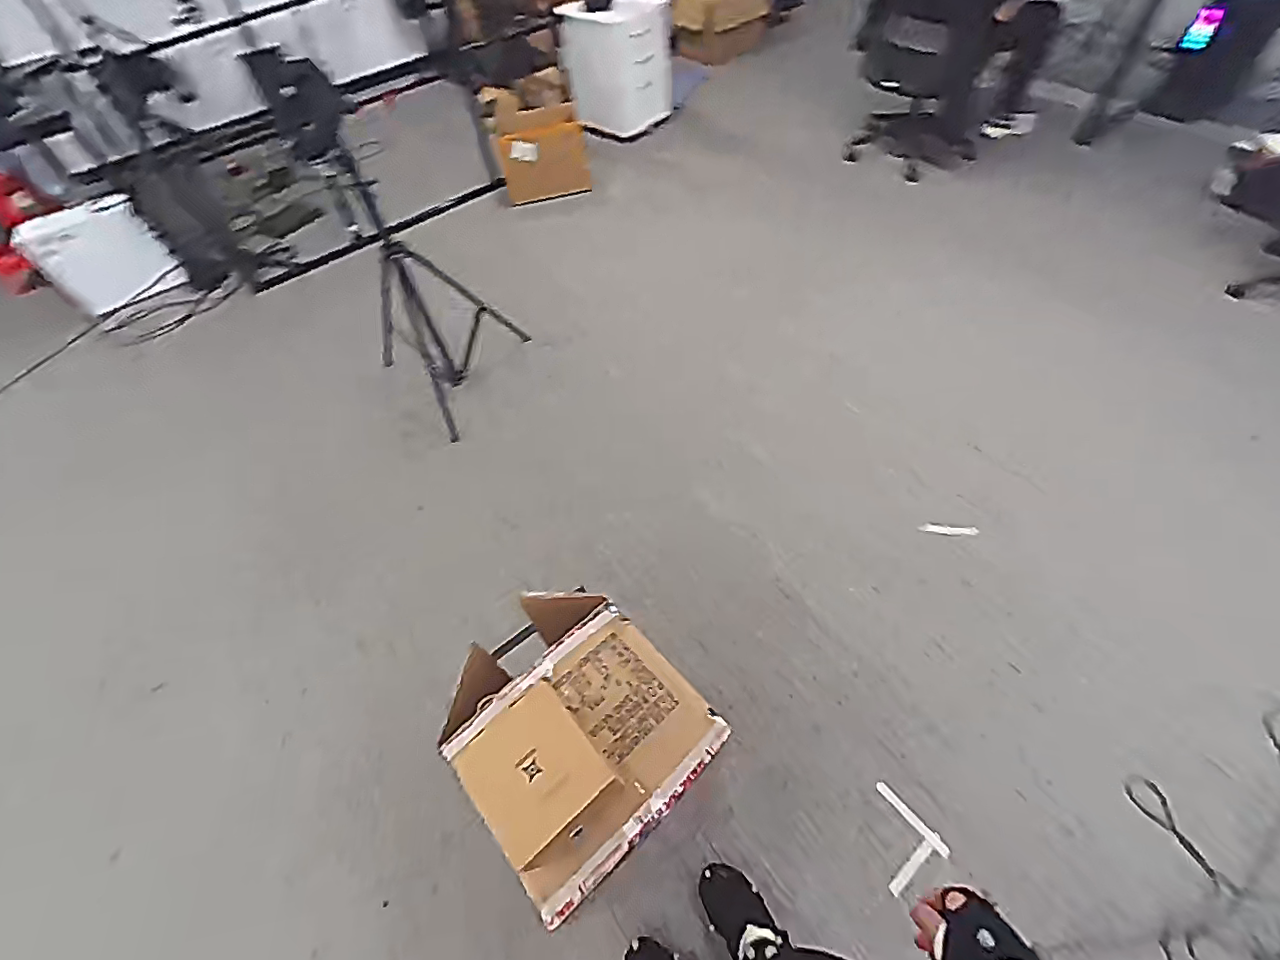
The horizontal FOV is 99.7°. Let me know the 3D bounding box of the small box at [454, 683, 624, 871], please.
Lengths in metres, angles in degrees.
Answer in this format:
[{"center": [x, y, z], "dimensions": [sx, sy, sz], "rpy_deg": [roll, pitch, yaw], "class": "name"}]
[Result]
[{"center": [-0.142, 0.444, 0.813], "dimensions": [0.168, 0.176, 0.179], "rpy_deg": [-39, 63, -19], "class": "small box"}]
